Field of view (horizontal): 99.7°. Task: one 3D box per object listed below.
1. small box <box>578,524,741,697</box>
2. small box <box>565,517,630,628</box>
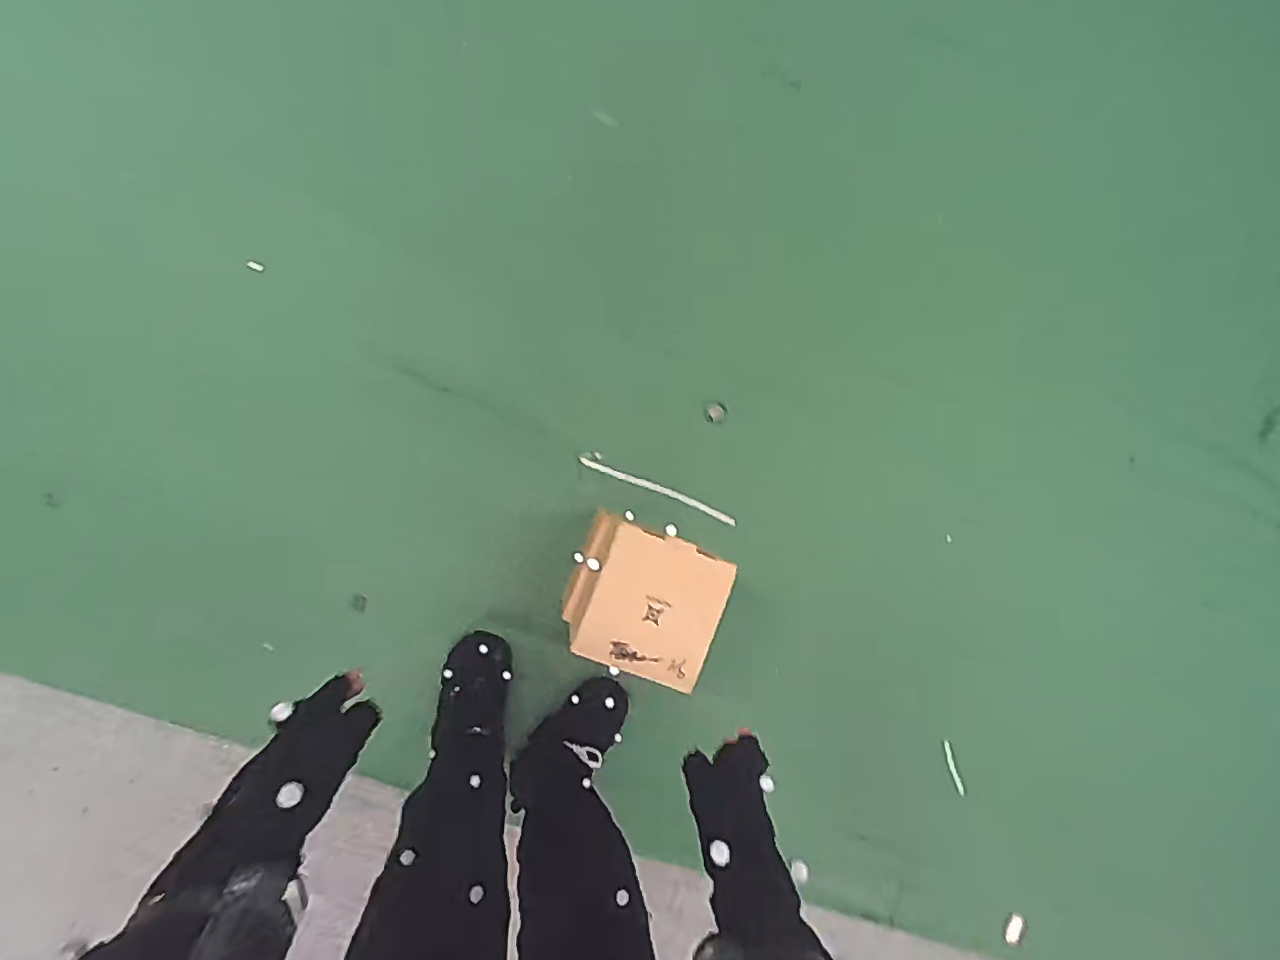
[{"bbox_3d":[0.015,0.169,0.761,0.168,0.176,0.179,22,86,-6],"label":"small box"},{"bbox_3d":[-0.016,0.171,0.904,0.168,0.176,0.179,25,87,-5],"label":"small box"}]
